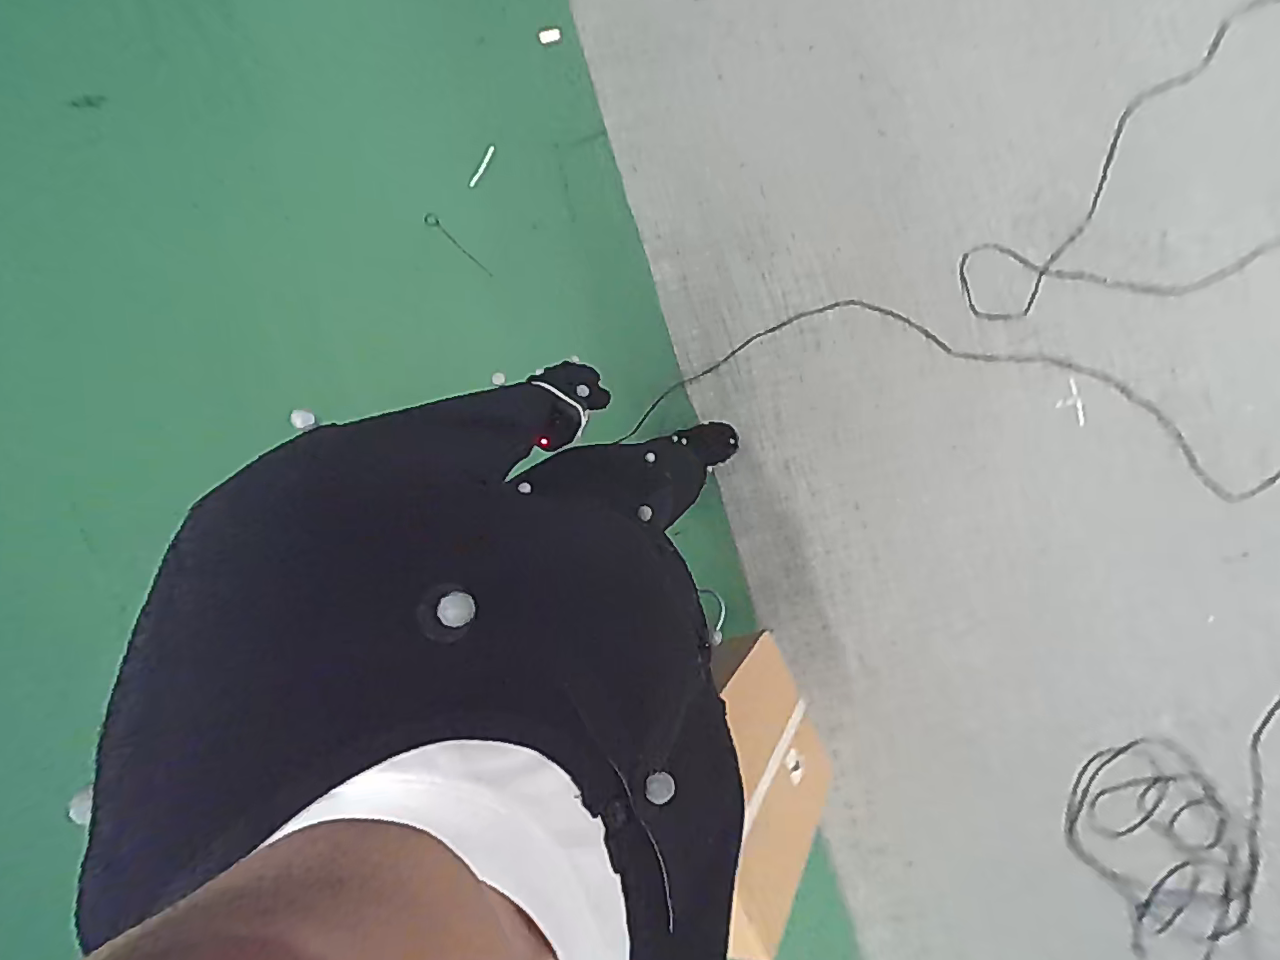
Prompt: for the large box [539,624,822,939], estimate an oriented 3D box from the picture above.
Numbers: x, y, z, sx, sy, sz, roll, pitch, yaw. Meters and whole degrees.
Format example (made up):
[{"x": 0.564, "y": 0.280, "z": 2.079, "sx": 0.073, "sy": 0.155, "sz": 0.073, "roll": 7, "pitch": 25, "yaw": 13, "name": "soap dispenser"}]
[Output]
[{"x": 0.093, "y": 0.525, "z": 1.007, "sx": 0.320, "sy": 0.408, "sz": 0.320, "roll": -25, "pitch": 89, "yaw": 33, "name": "large box"}]
